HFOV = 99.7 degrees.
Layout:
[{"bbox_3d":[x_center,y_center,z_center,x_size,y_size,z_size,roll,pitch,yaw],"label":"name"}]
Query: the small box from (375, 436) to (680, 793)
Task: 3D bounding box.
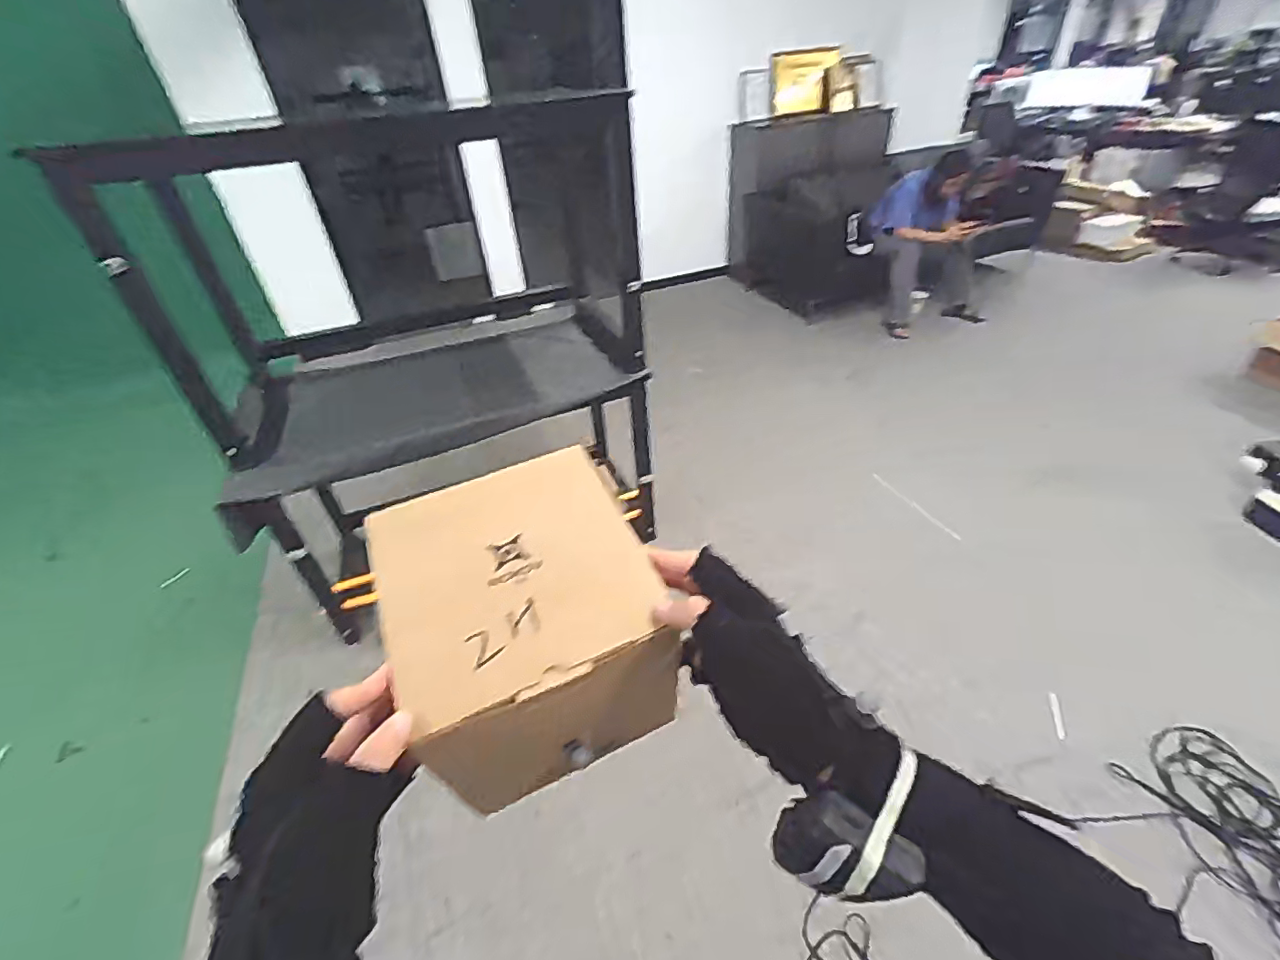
[{"bbox_3d":[-0.082,0.100,0.417,0.168,0.176,0.179,-20,49,-16],"label":"small box"}]
